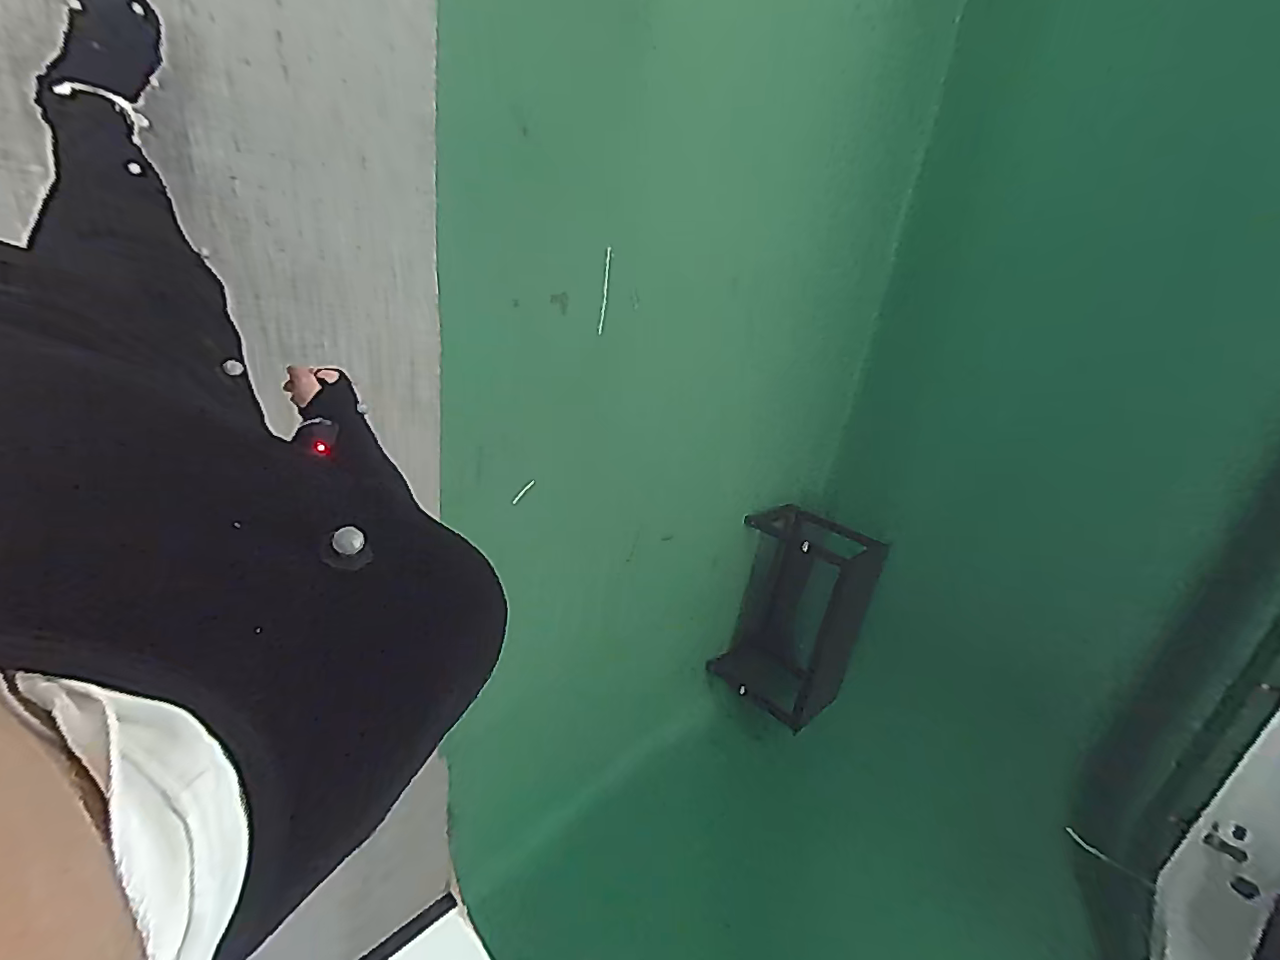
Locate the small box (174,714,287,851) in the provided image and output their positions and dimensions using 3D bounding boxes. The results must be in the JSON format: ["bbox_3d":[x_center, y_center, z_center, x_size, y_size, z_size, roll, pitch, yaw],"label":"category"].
[{"bbox_3d":[-0.909,0.655,1.201,0.168,0.176,0.179,-12,121,-45],"label":"small box"}]
